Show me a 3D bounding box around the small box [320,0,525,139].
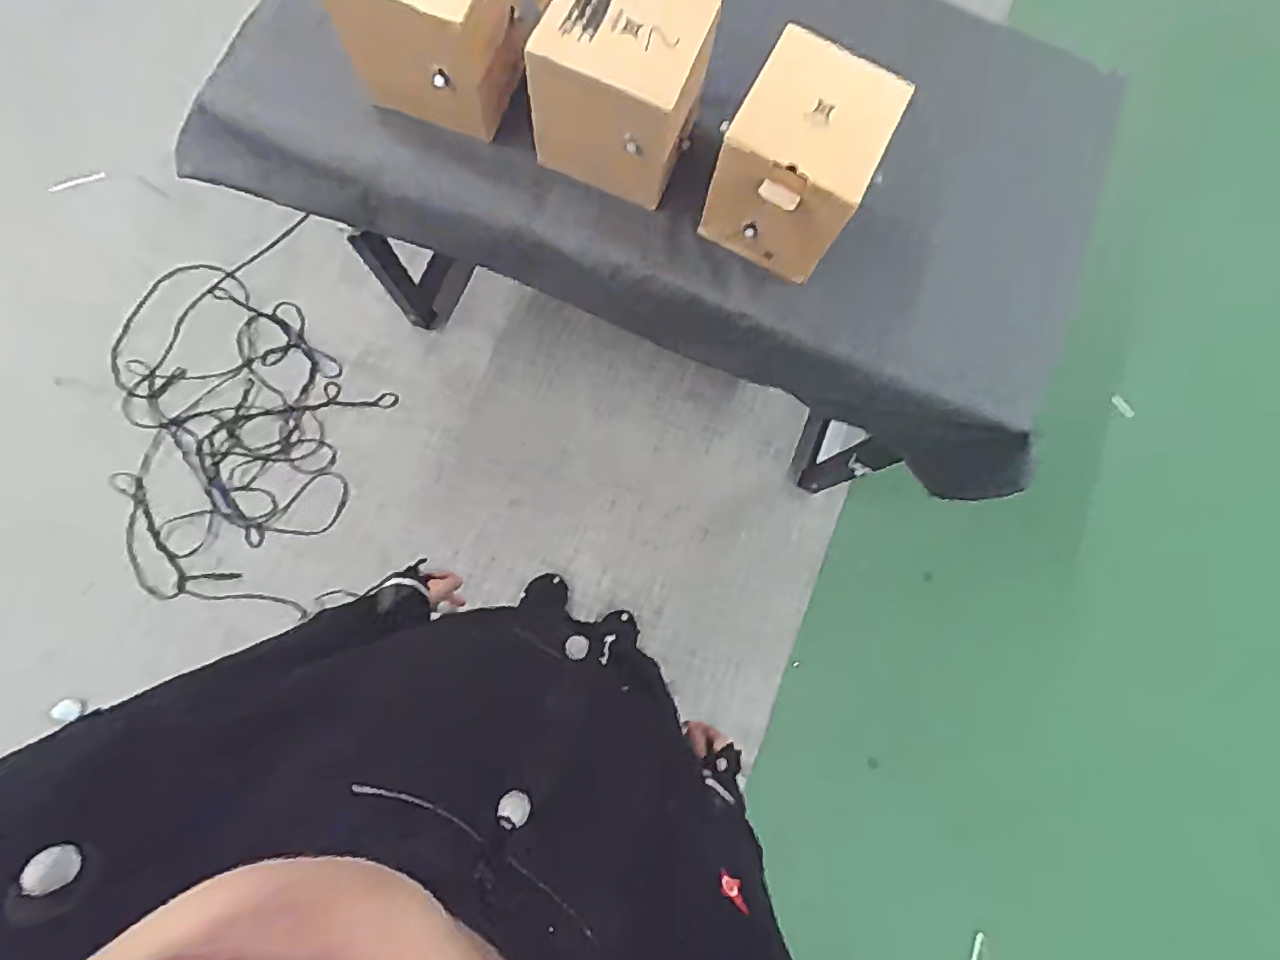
[{"bbox_3d":[-0.256,-0.571,0.674,0.179,0.176,0.168,18,78,-1],"label":"small box"}]

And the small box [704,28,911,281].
[{"bbox_3d":[0.196,-0.394,0.683,0.168,0.176,0.179,27,79,0],"label":"small box"}]
